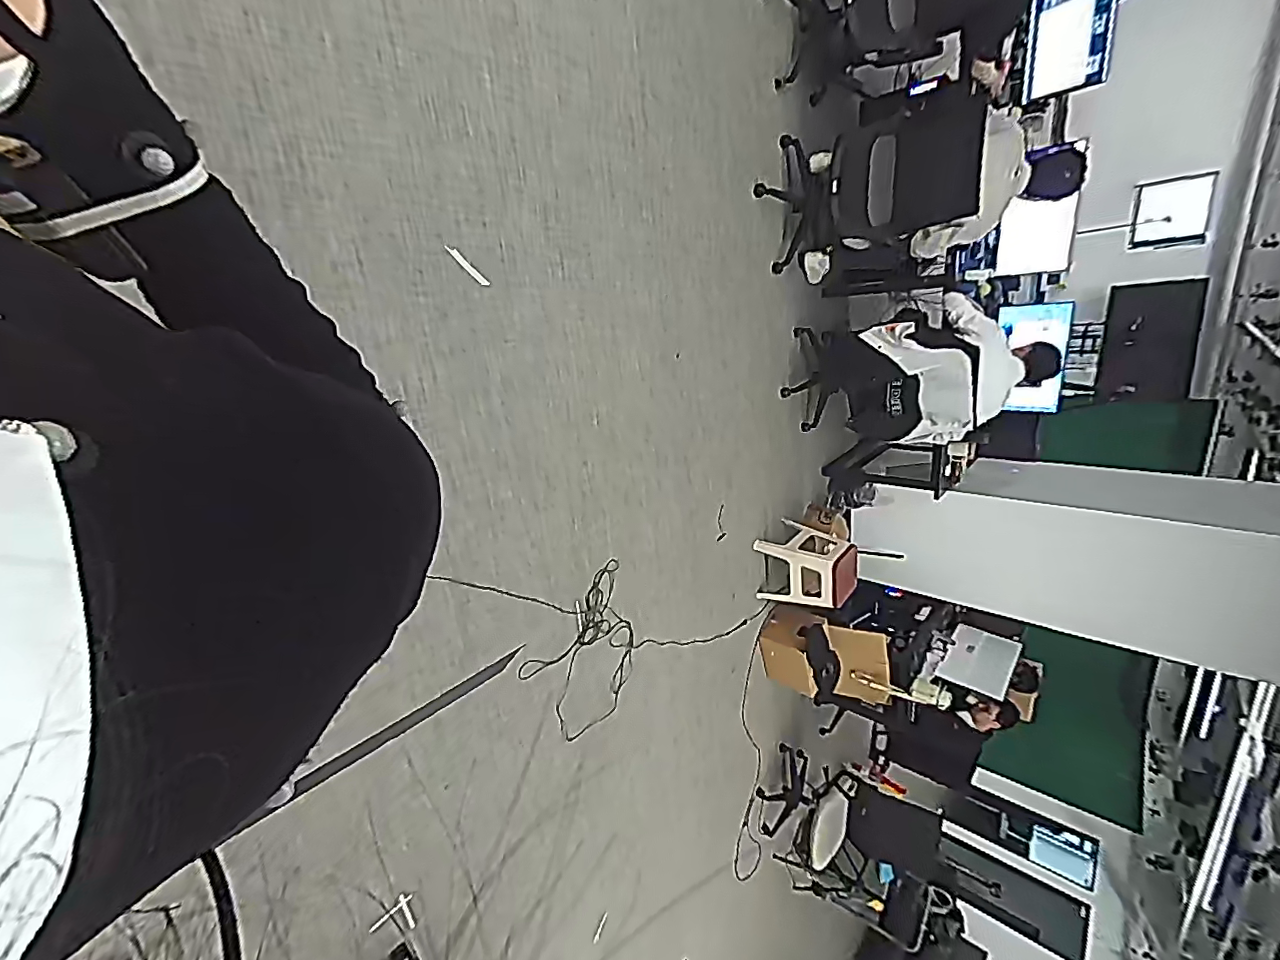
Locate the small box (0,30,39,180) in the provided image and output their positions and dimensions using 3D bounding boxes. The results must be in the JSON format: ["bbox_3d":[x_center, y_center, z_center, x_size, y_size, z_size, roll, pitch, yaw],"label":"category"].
[{"bbox_3d":[-0.766,-0.417,0.544,0.179,0.176,0.168,-21,114,-46],"label":"small box"}]

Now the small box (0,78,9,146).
[{"bbox_3d":[-0.651,-0.386,0.428,0.168,0.176,0.179,-17,112,-49],"label":"small box"}]
